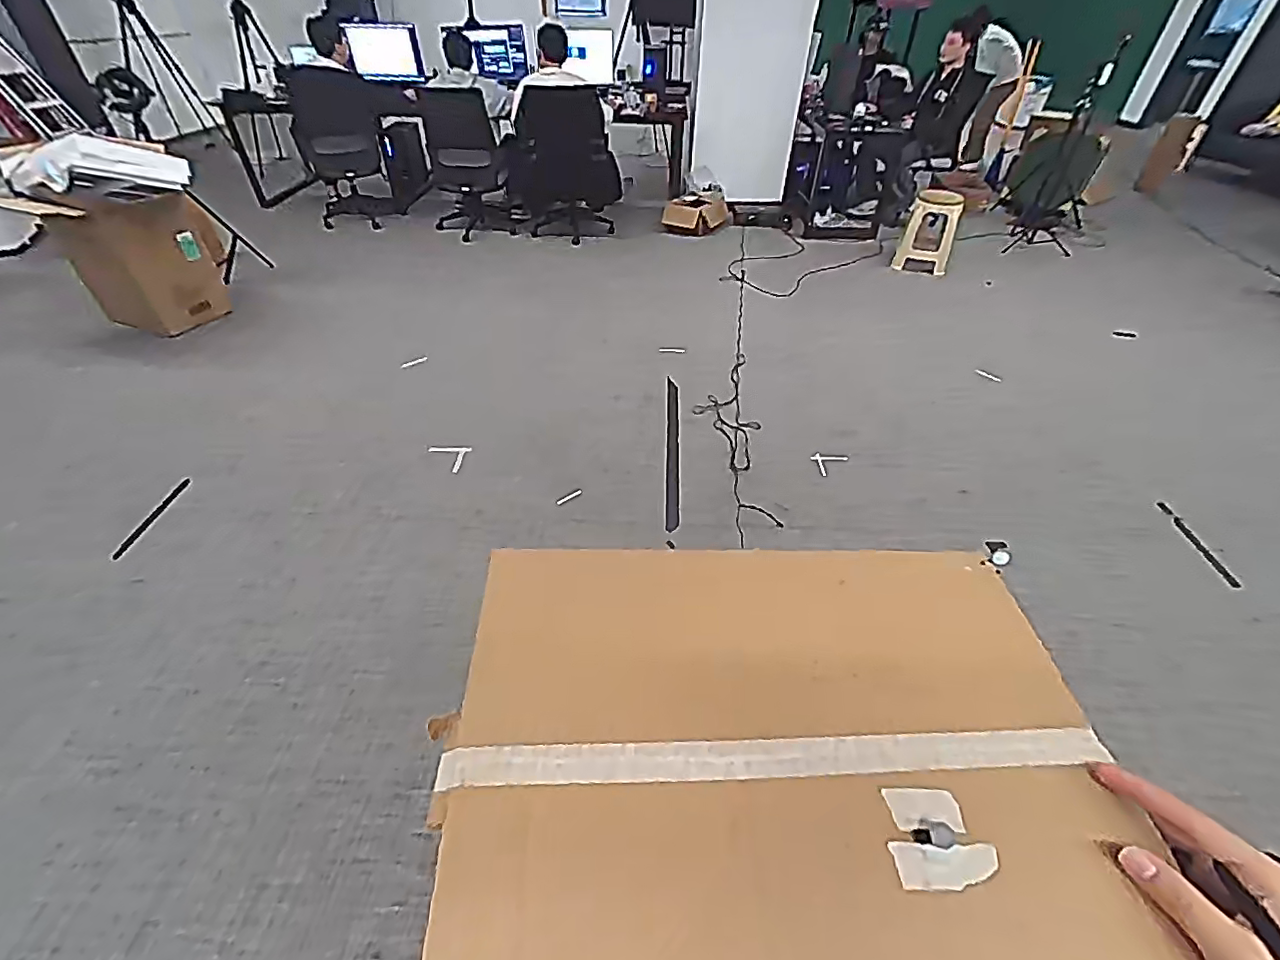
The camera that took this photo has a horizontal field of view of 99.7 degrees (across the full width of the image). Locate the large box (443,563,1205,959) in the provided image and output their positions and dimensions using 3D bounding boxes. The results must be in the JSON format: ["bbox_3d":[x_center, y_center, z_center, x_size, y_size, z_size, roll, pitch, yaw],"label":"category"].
[{"bbox_3d":[0.081,0.282,0.443,0.408,0.320,0.320,1,46,-6],"label":"large box"}]
